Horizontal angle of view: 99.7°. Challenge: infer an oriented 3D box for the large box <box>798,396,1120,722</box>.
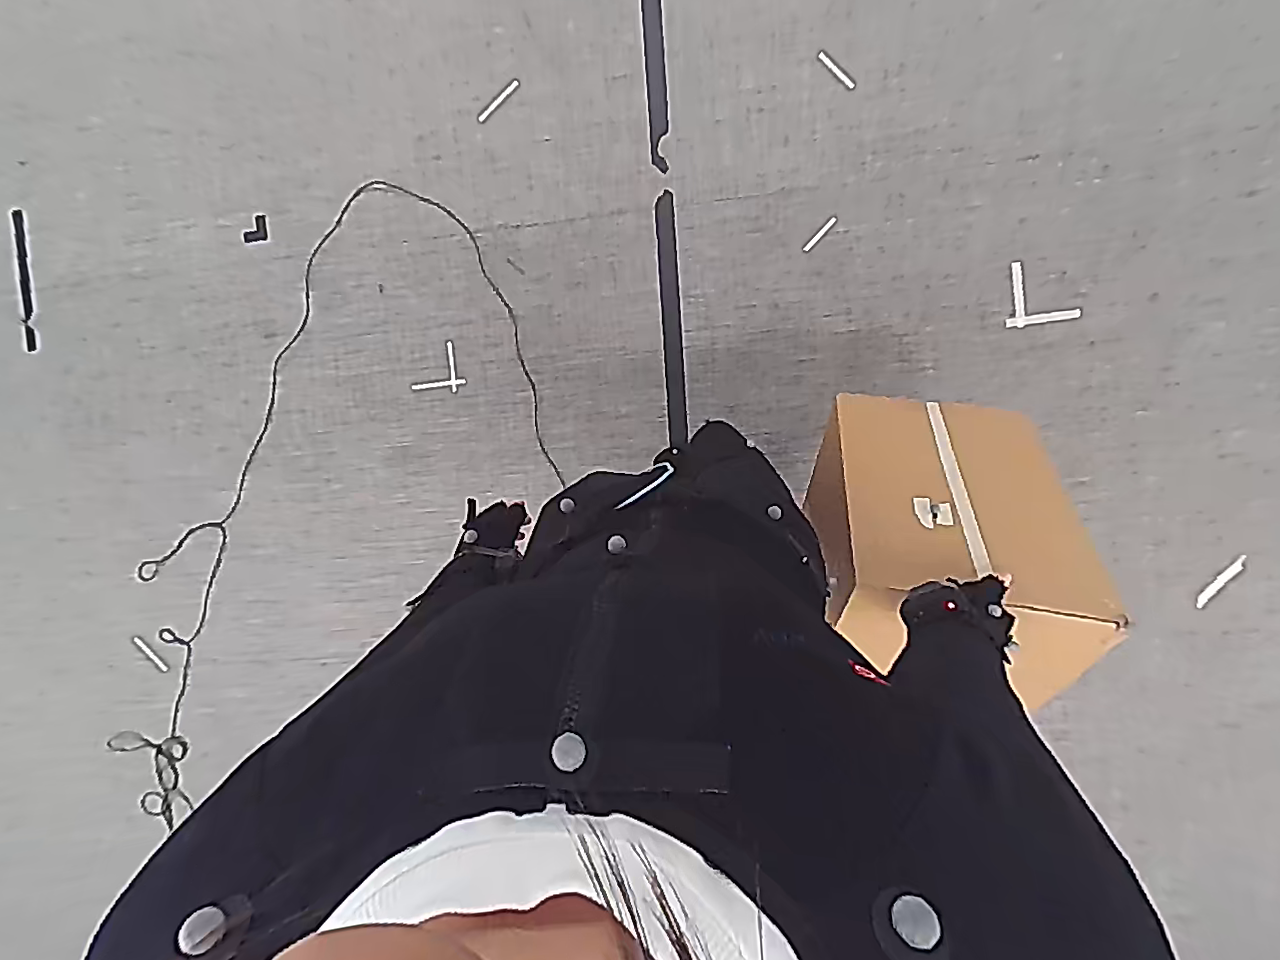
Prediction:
[{"bbox_3d":[0.447,0.116,0.887,0.320,0.408,0.320,7,137,10],"label":"large box"}]
